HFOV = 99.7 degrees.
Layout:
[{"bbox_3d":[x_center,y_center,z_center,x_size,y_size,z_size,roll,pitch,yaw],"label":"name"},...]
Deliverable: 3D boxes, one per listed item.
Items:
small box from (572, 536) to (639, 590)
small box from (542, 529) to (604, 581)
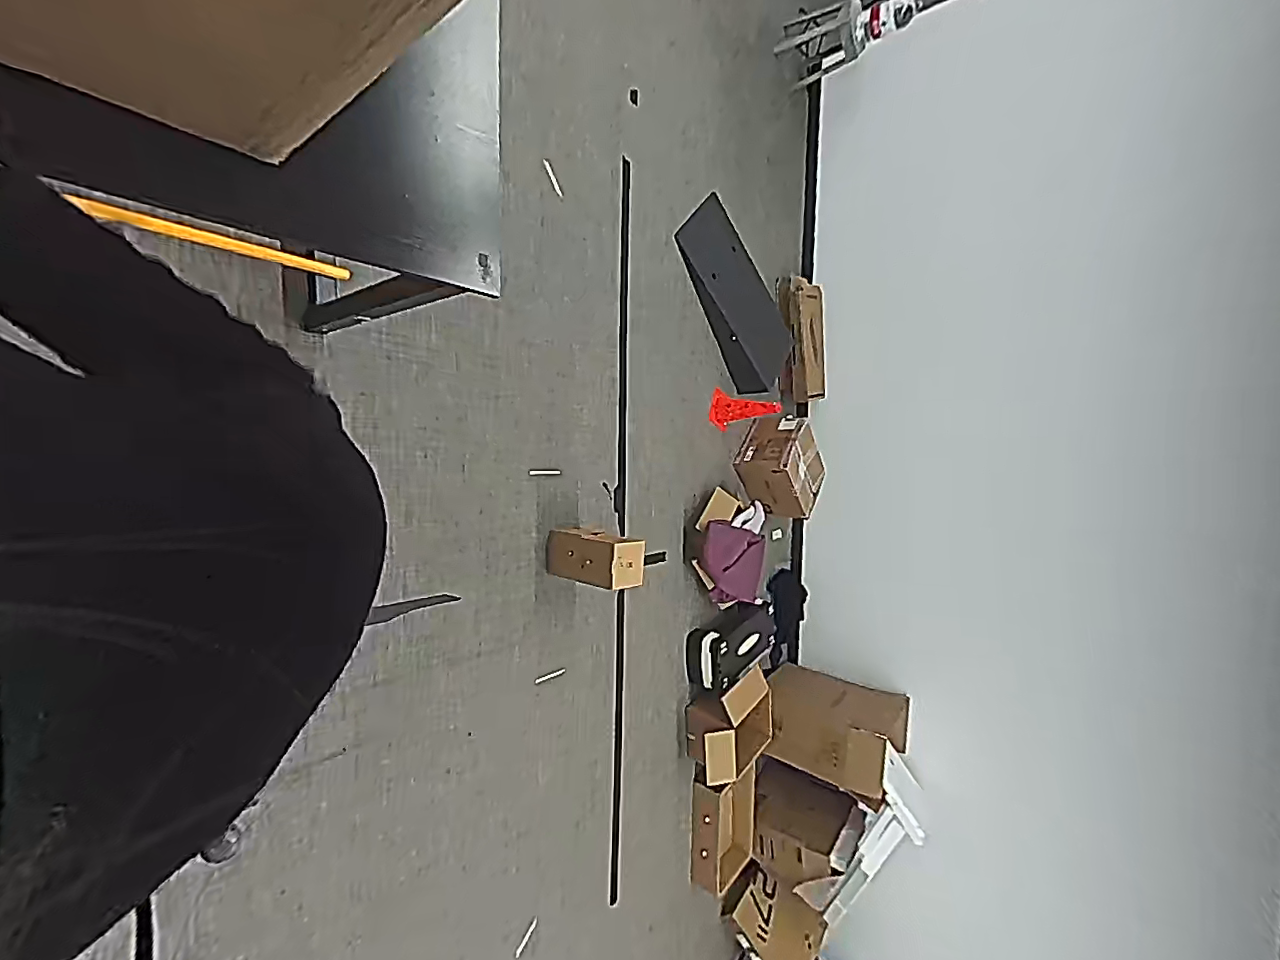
[{"bbox_3d":[-0.127,0.299,1.985,0.179,0.176,0.168,4,91,-52],"label":"small box"},{"bbox_3d":[-0.259,0.282,2.082,0.168,0.176,0.179,4,91,-52],"label":"small box"}]
